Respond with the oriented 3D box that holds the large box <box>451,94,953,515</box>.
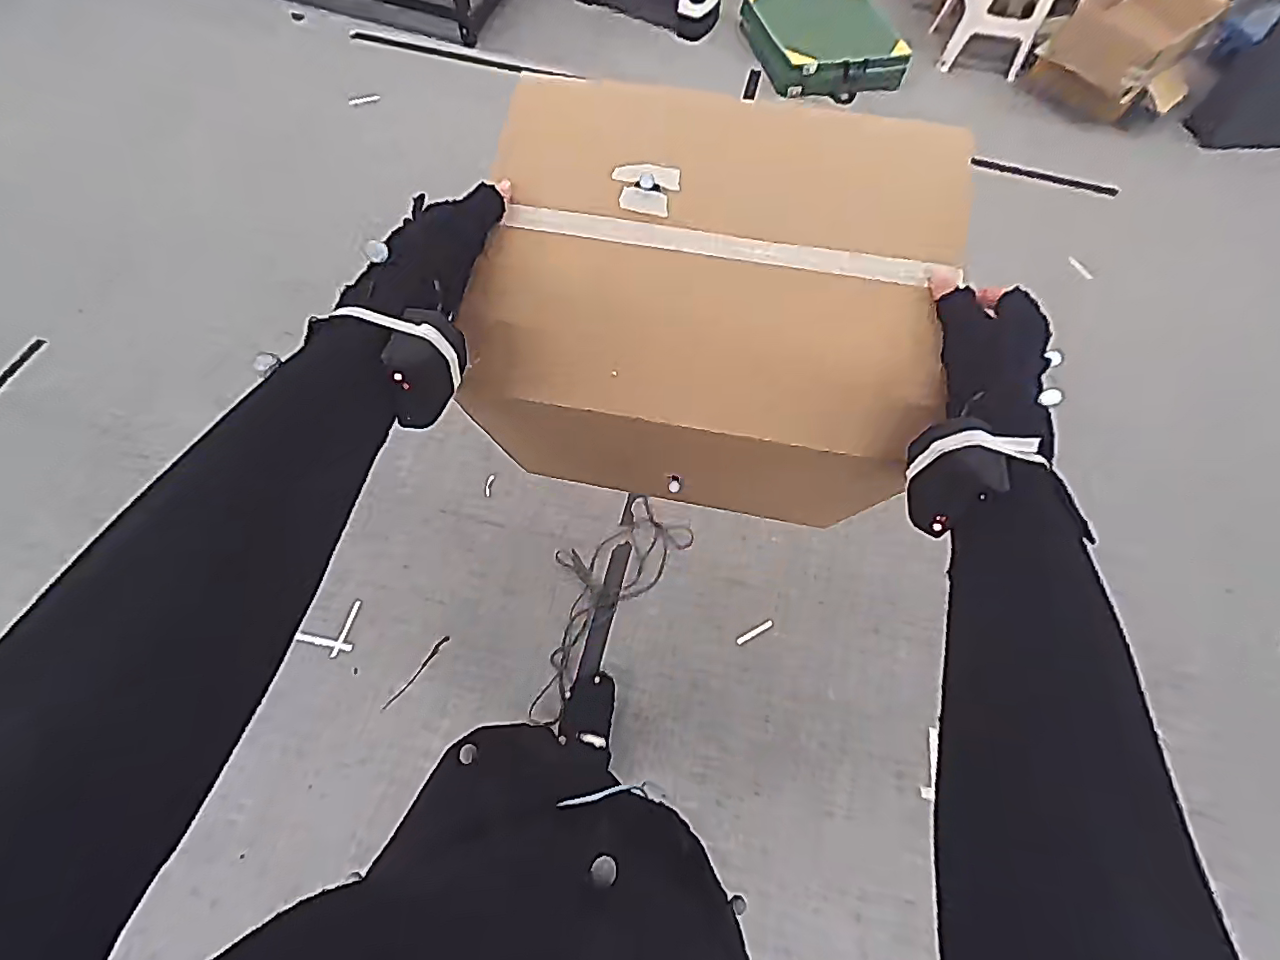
[{"bbox_3d":[0.069,-0.160,0.616,0.408,0.320,0.320,11,77,6],"label":"large box"}]
